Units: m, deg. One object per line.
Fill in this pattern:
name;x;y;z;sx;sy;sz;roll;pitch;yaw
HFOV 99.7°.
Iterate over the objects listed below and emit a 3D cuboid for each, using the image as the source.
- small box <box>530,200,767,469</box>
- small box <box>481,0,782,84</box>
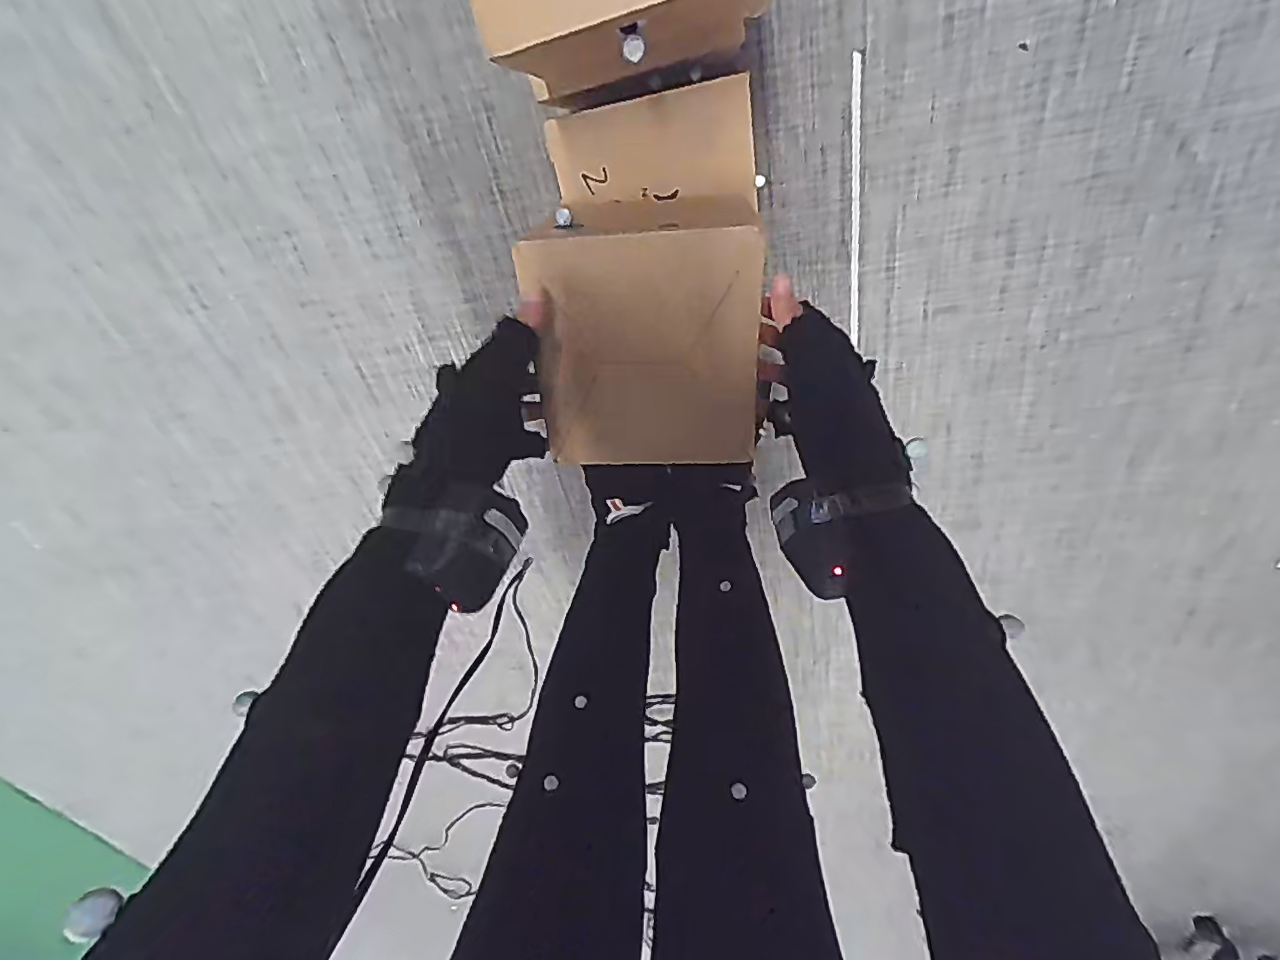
small box;0.014;-0.128;0.461;0.168;0.176;0.179;0;122;6
small box;-0.008;-0.357;0.319;0.179;0.176;0.168;-9;122;11
